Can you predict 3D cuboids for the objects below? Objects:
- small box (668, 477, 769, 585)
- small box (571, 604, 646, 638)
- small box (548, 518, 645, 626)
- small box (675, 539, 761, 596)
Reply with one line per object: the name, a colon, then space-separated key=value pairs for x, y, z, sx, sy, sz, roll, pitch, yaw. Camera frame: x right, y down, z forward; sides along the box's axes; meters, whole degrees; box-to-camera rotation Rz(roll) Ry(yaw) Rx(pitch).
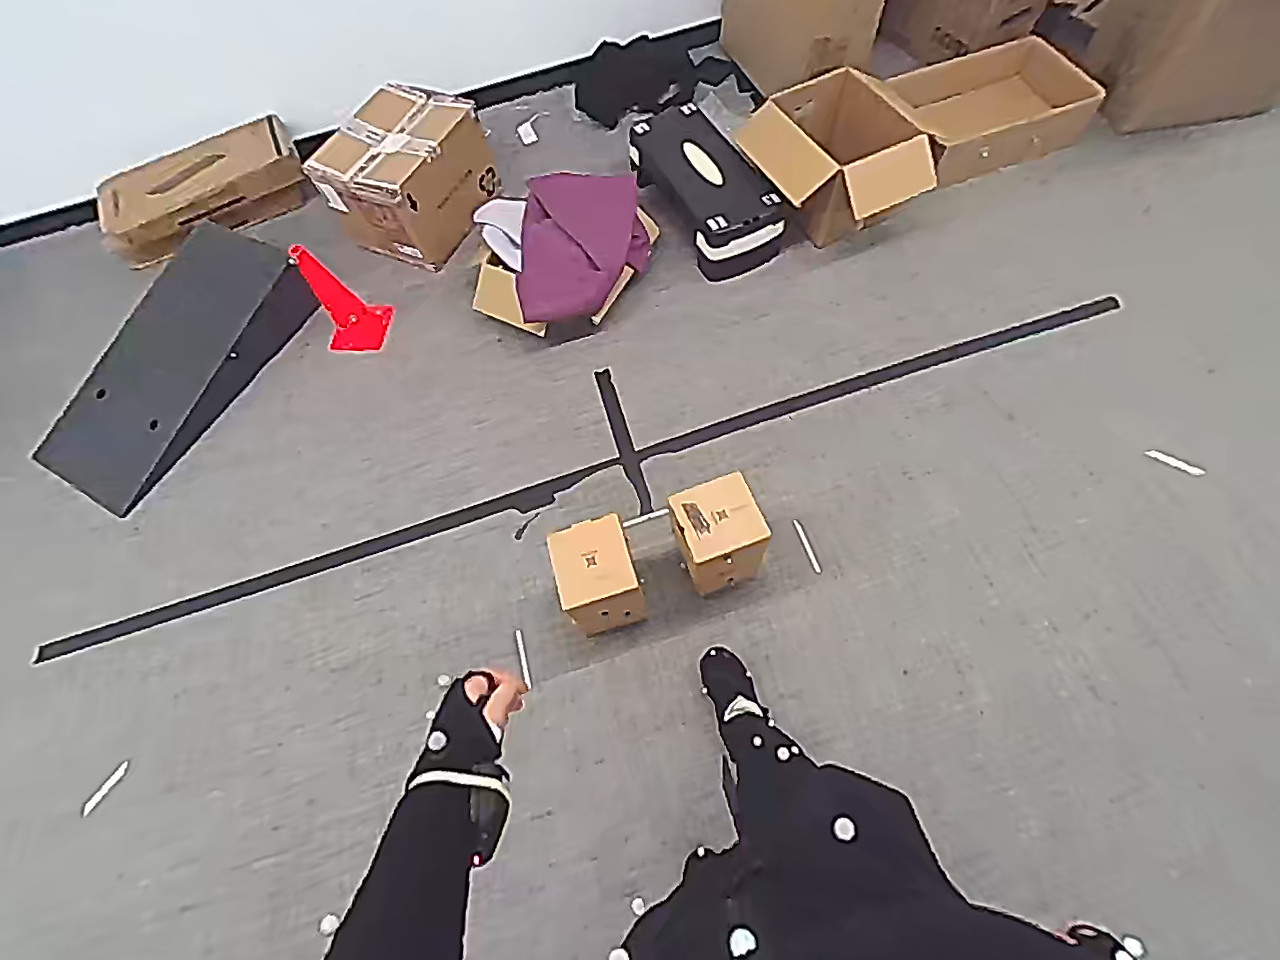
small box: x=0.174 y=0.123 z=1.240 sx=0.179 sy=0.176 sz=0.168 roll=-19 pitch=65 yaw=-5
small box: x=-0.086 y=0.288 z=1.370 sx=0.179 sy=0.176 sz=0.168 roll=-16 pitch=64 yaw=-2
small box: x=-0.095 y=0.213 z=1.225 sx=0.168 sy=0.176 sz=0.179 roll=-18 pitch=66 yaw=-1
small box: x=0.194 y=0.188 z=1.392 sx=0.168 sy=0.176 sz=0.179 roll=-20 pitch=65 yaw=-4
